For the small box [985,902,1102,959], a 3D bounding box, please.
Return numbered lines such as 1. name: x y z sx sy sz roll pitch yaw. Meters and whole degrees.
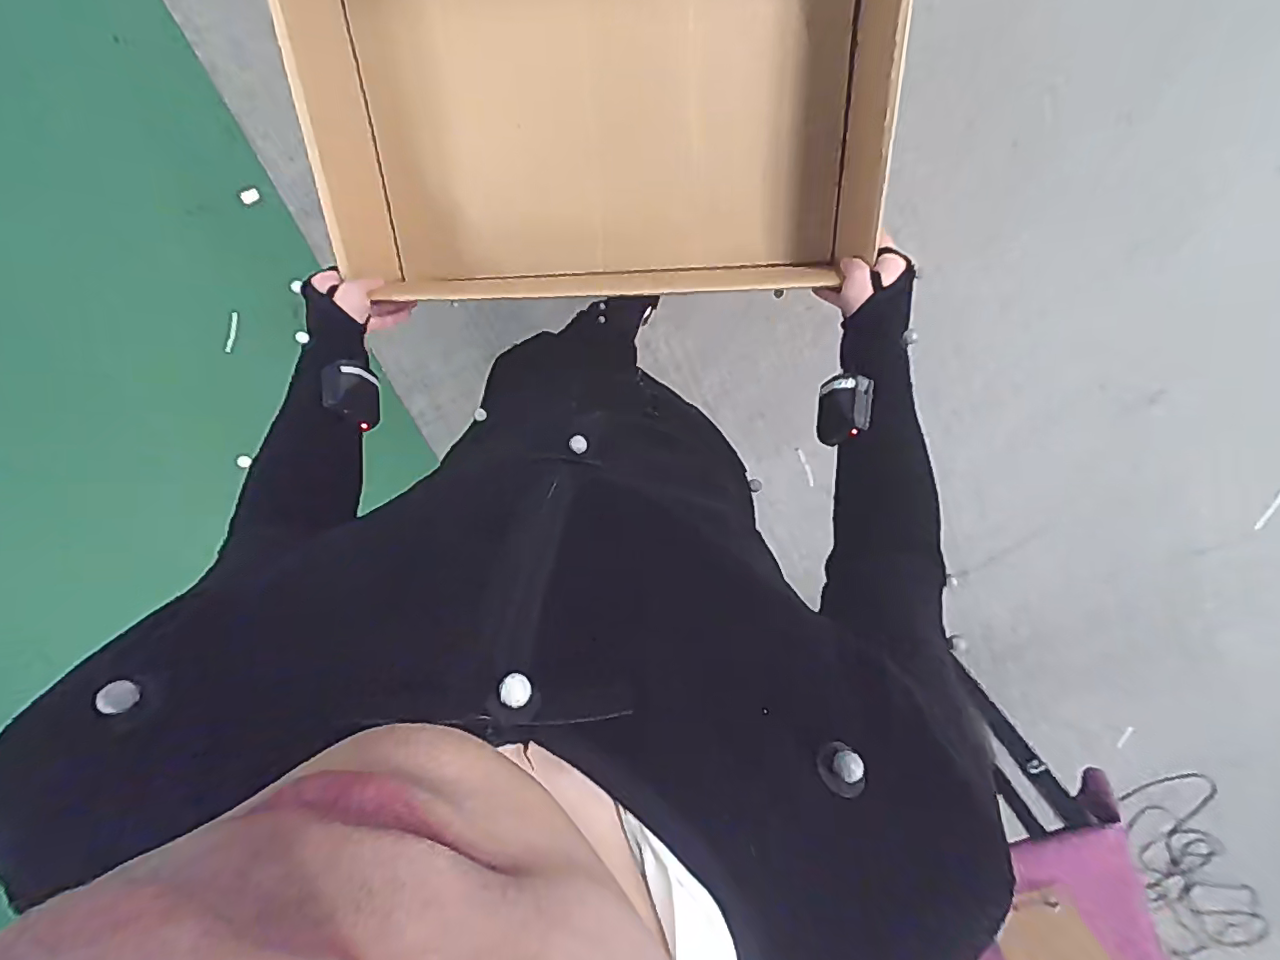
1. small box: 0.837 0.996 1.091 0.168 0.176 0.179 -25 108 10
